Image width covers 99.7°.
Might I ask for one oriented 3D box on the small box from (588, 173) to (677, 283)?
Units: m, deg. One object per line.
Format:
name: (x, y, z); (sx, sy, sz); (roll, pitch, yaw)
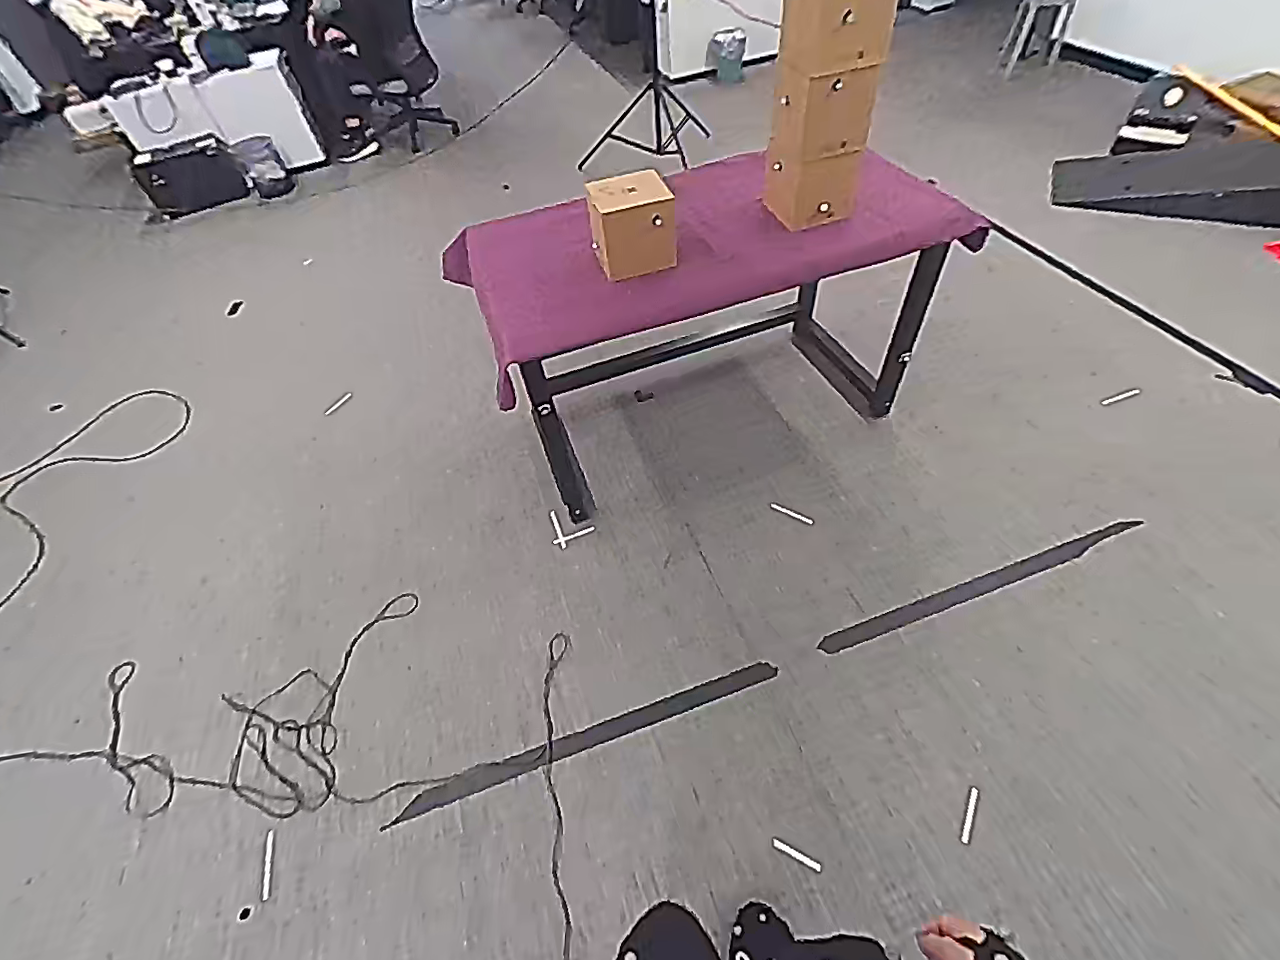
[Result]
small box: (-0.015, -0.607, 1.306); (0.179, 0.176, 0.168); (-16, 51, -5)

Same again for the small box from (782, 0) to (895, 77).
small box: (0.405, -0.952, 1.107); (0.168, 0.176, 0.179); (-16, 52, -4)

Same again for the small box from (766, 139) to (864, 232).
small box: (0.433, -0.760, 1.371); (0.168, 0.176, 0.179); (-17, 53, -6)

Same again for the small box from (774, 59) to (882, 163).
small box: (0.418, -0.856, 1.239); (0.168, 0.176, 0.179); (-15, 51, -4)
